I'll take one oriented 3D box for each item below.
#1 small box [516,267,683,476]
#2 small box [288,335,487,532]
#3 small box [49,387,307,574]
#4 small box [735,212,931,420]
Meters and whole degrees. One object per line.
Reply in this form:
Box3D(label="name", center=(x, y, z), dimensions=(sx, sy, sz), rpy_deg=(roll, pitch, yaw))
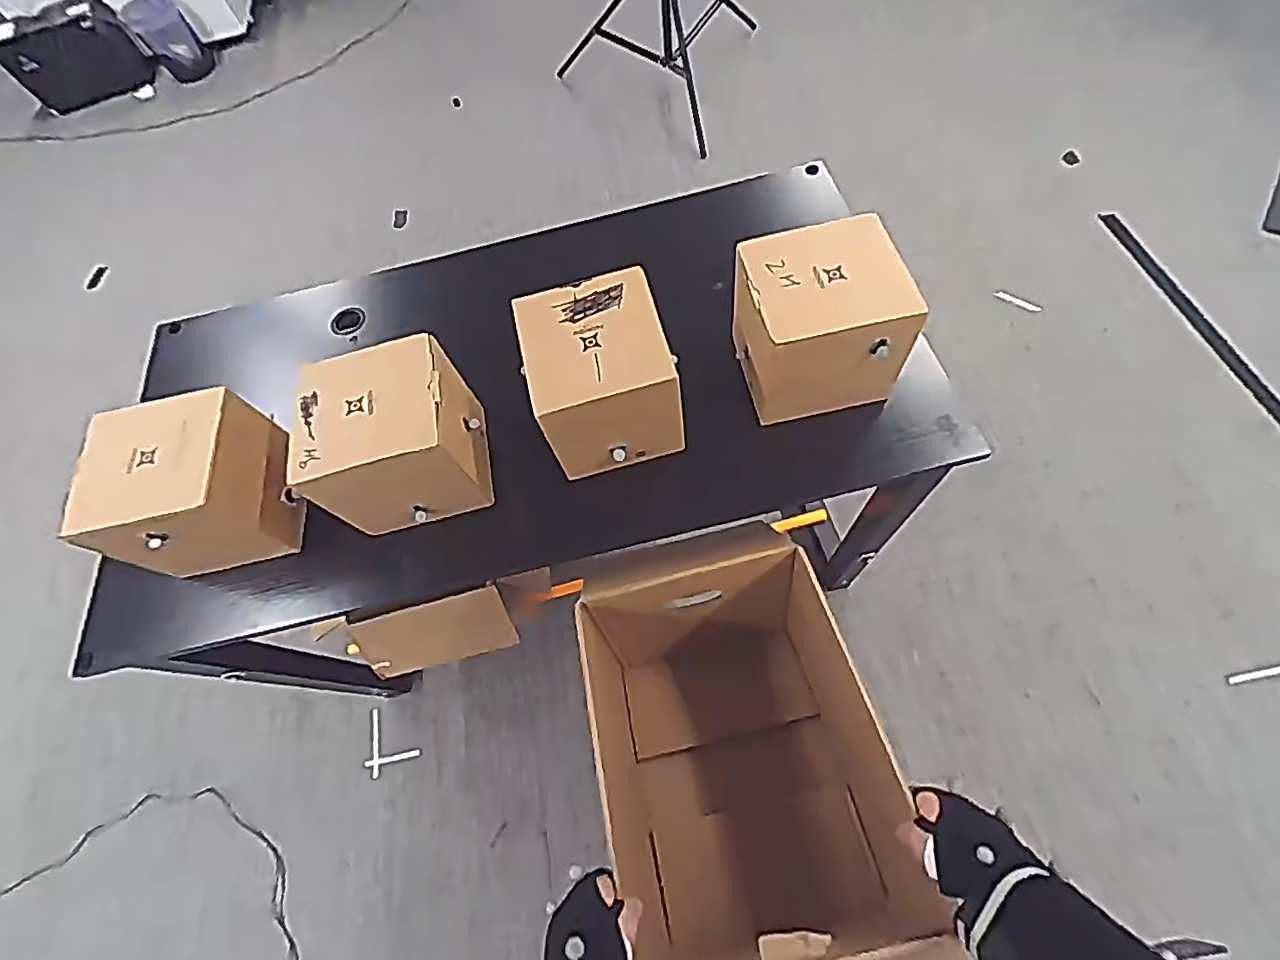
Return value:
Box3D(label="small box", center=(-0.046, -0.131, 0.692), dimensions=(0.168, 0.176, 0.179), rpy_deg=(-15, 64, 0))
Box3D(label="small box", center=(-0.306, -0.051, 0.689), dimensions=(0.179, 0.176, 0.168), rpy_deg=(-15, 63, -1))
Box3D(label="small box", center=(-0.562, 0.010, 0.692), dimensions=(0.179, 0.176, 0.168), rpy_deg=(-12, 64, 1))
Box3D(label="small box", center=(0.226, -0.199, 0.687), dimensions=(0.179, 0.176, 0.168), rpy_deg=(-12, 63, 2))
